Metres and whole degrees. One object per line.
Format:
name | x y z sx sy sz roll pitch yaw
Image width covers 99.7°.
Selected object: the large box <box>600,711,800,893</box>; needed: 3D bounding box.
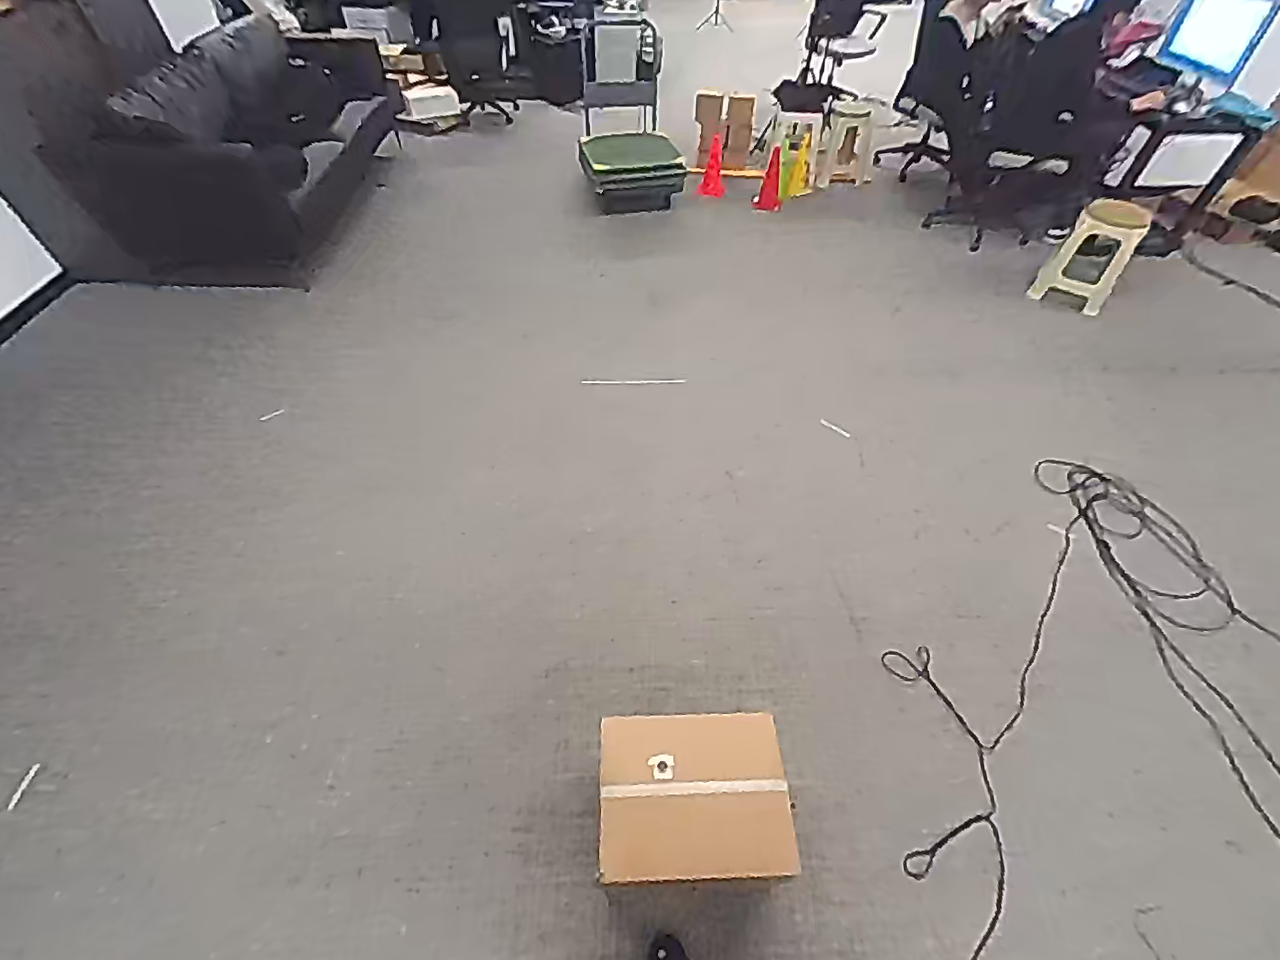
large box | 0.117 0.767 1.284 0.408 0.320 0.320 -2 48 -2
